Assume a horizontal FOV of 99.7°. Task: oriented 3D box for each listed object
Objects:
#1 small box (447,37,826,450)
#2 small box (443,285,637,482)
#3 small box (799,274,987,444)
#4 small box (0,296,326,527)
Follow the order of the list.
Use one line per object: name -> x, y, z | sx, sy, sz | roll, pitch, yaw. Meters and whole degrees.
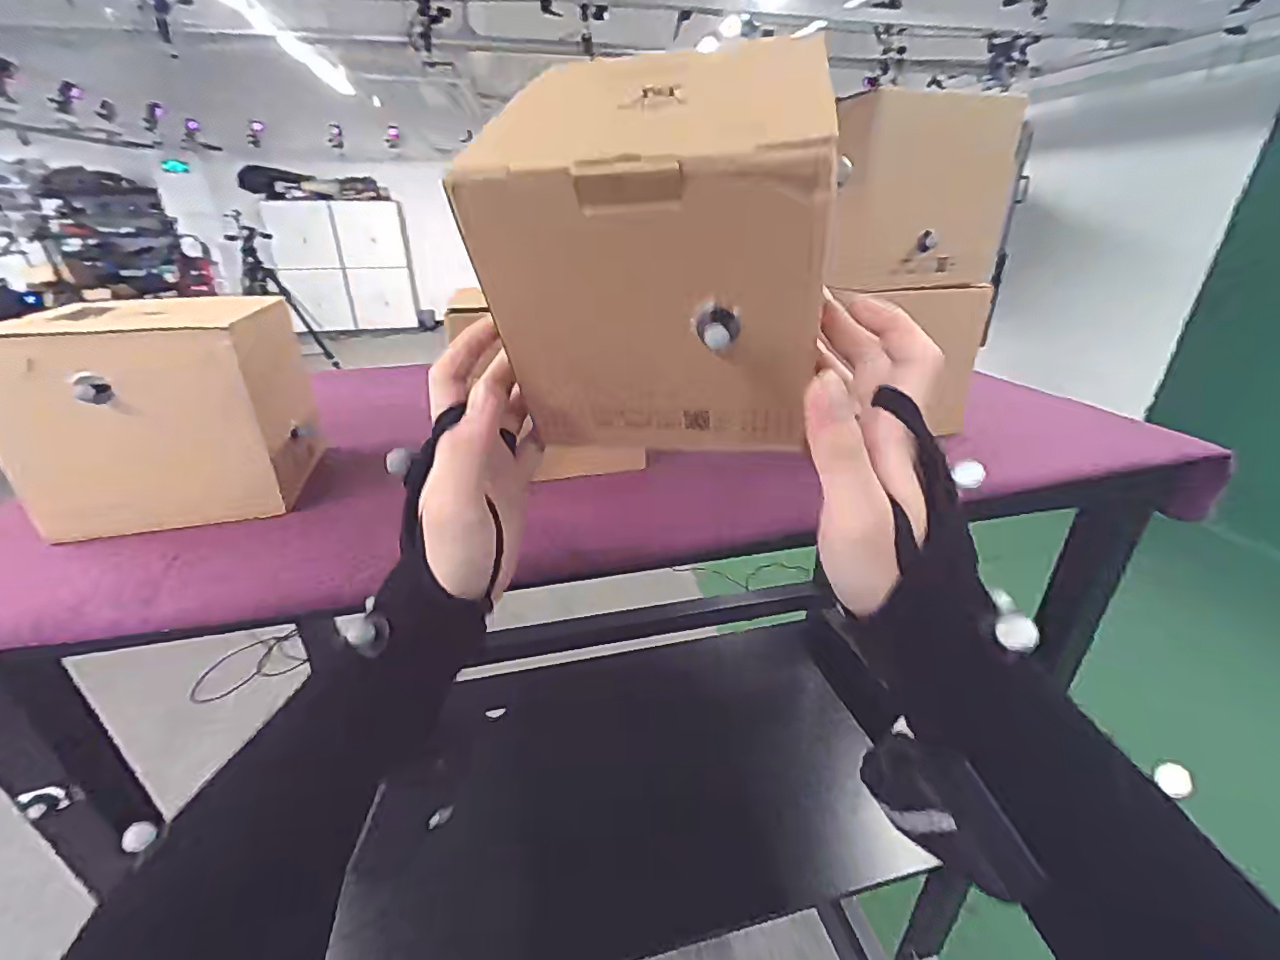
small box -> 0.021, -0.135, 0.330 | 0.168, 0.176, 0.179 | 3, 49, 14
small box -> -0.099, -0.111, 0.576 | 0.179, 0.176, 0.168 | -7, 26, -12
small box -> 0.264, -0.152, 0.651 | 0.179, 0.176, 0.168 | -6, 24, -13
small box -> -0.418, -0.070, 0.495 | 0.179, 0.176, 0.168 | -7, 27, -15
